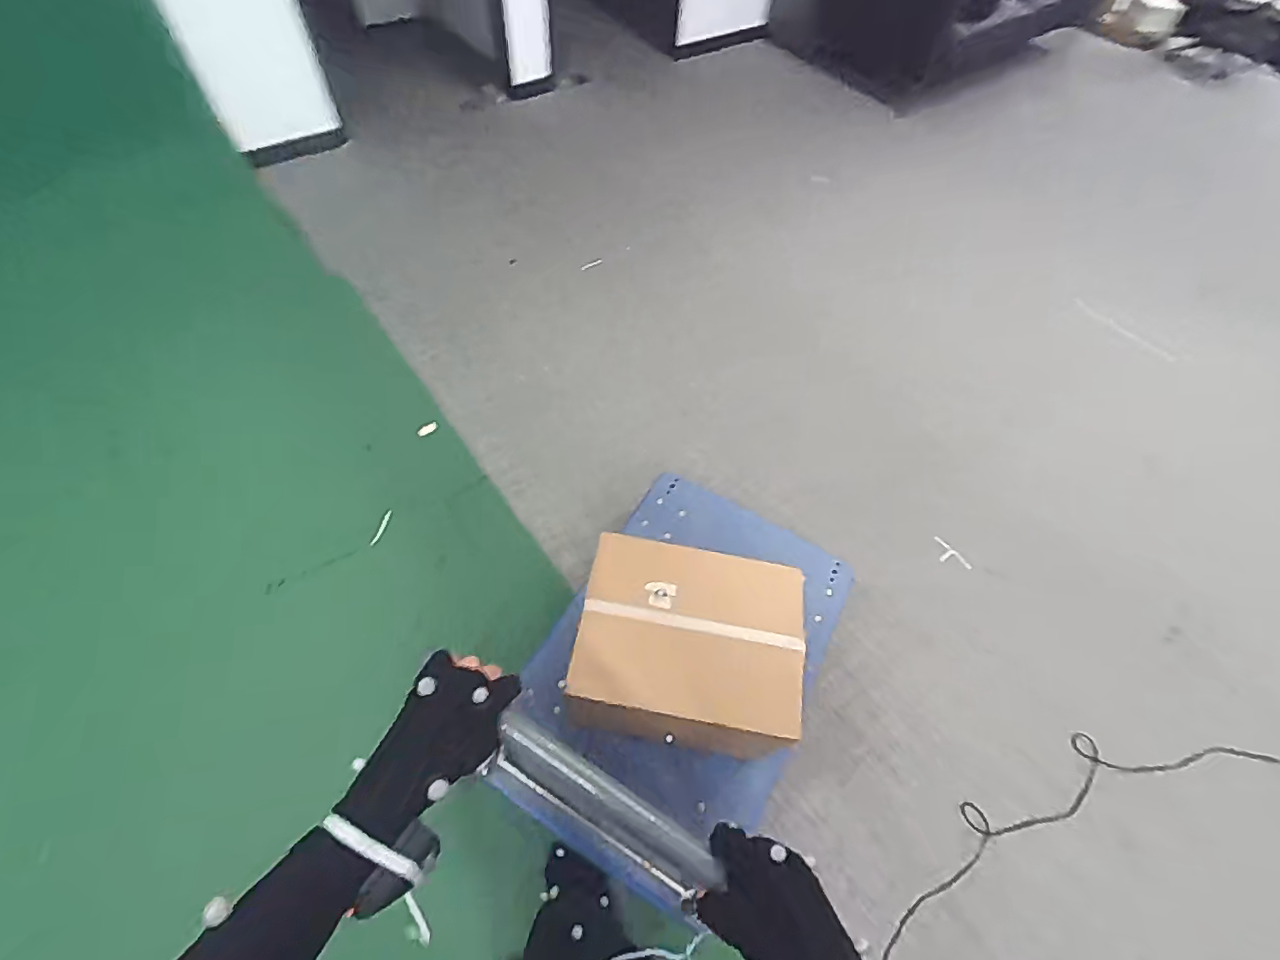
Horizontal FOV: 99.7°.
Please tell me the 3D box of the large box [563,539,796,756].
[{"bbox_3d":[0.083,0.354,1.113,0.408,0.320,0.320,10,56,3],"label":"large box"}]
